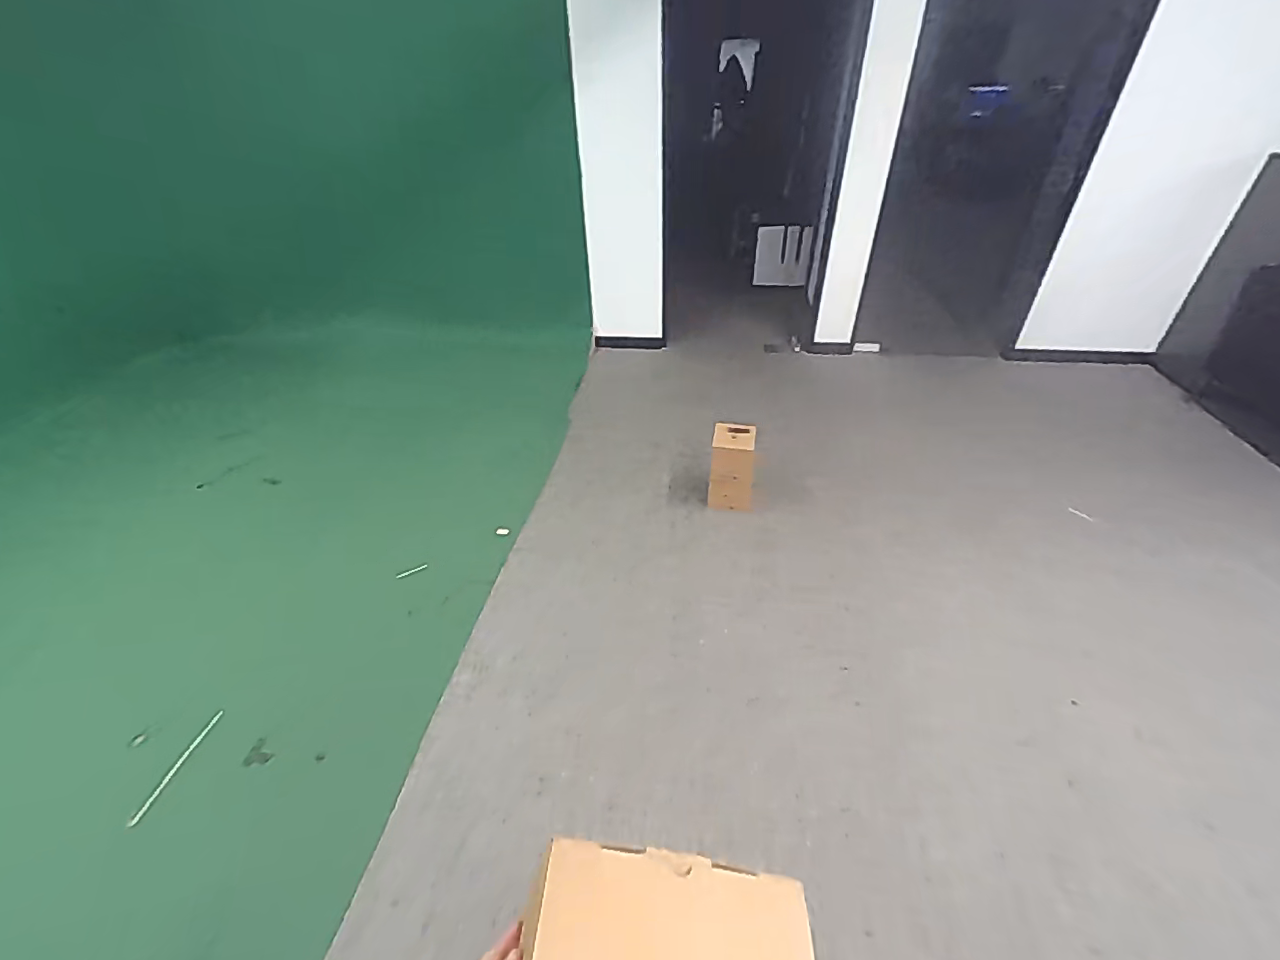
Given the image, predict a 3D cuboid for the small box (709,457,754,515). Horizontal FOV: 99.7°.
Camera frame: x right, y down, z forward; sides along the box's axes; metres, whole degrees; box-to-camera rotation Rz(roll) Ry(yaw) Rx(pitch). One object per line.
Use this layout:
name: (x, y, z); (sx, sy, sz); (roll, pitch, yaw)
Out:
small box: (0.392, 0.027, 2.314); (0.168, 0.176, 0.179); (8, 39, 13)

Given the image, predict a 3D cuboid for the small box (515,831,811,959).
small box: (-0.001, 0.351, 0.326); (0.168, 0.176, 0.179); (14, 37, -5)
